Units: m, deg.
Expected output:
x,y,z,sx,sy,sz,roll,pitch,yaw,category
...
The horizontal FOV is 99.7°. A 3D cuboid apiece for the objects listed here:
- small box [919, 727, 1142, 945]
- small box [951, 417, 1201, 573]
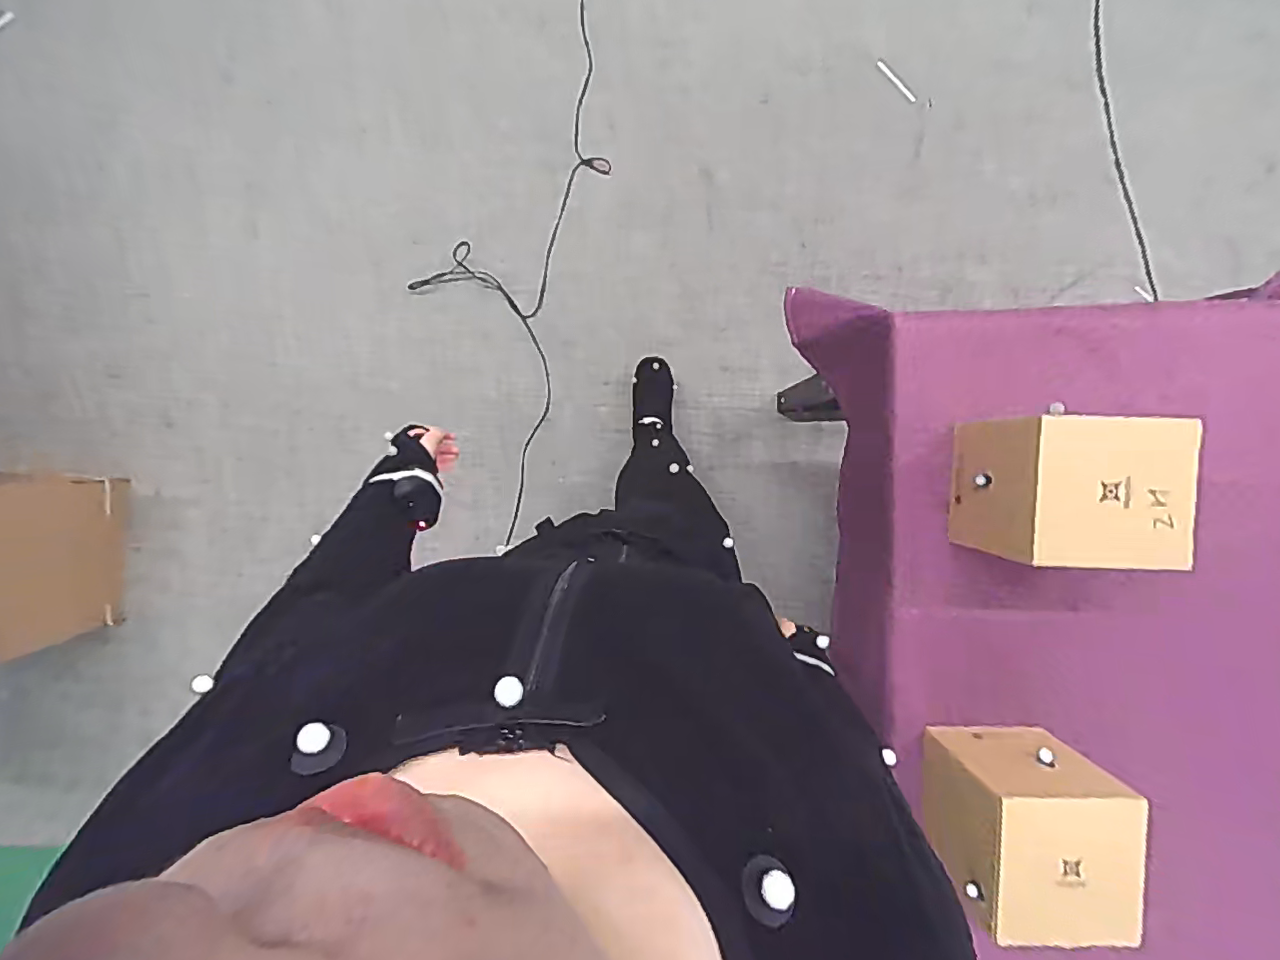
x,y,z,sx,sy,sz,roll,pitch,yaw,category
0.481,0.438,0.691,0.168,0.176,0.179,1,94,0,small box
0.514,0.013,0.665,0.179,0.176,0.168,2,94,0,small box
